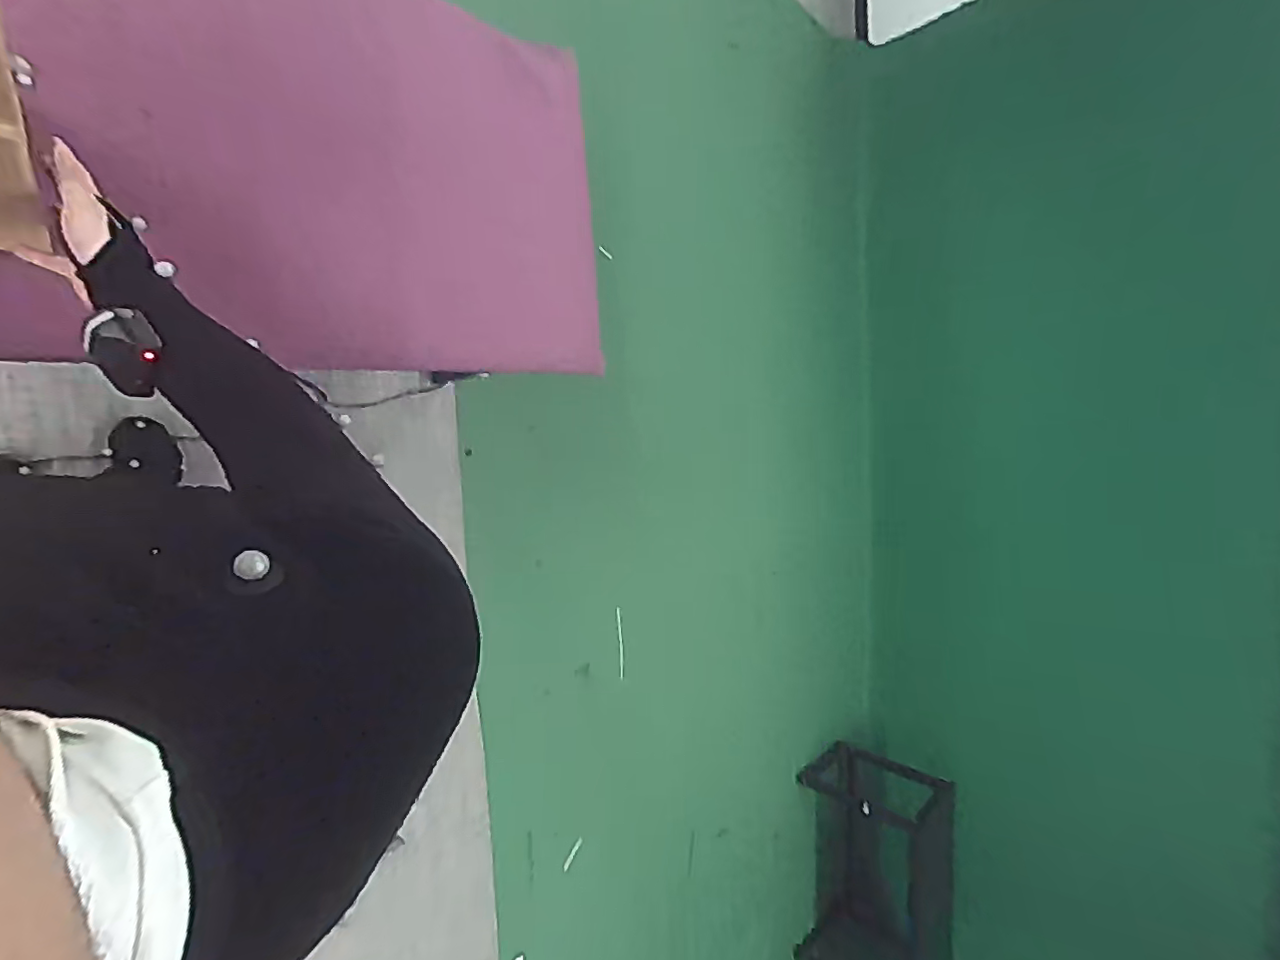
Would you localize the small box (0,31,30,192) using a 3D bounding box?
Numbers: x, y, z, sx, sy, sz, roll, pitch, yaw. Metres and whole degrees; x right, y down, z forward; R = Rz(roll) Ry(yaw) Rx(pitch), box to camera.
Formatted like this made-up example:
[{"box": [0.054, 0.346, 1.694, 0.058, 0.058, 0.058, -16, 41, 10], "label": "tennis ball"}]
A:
[{"box": [-0.578, -0.333, 0.384, 0.168, 0.176, 0.179, -12, 100, -44], "label": "small box"}]

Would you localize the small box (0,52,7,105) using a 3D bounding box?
[{"box": [-0.463, -0.336, 0.268, 0.168, 0.176, 0.179, -11, 100, -44], "label": "small box"}]

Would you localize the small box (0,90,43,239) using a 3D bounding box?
[{"box": [-0.695, -0.340, 0.499, 0.168, 0.176, 0.179, -13, 101, -43], "label": "small box"}]
